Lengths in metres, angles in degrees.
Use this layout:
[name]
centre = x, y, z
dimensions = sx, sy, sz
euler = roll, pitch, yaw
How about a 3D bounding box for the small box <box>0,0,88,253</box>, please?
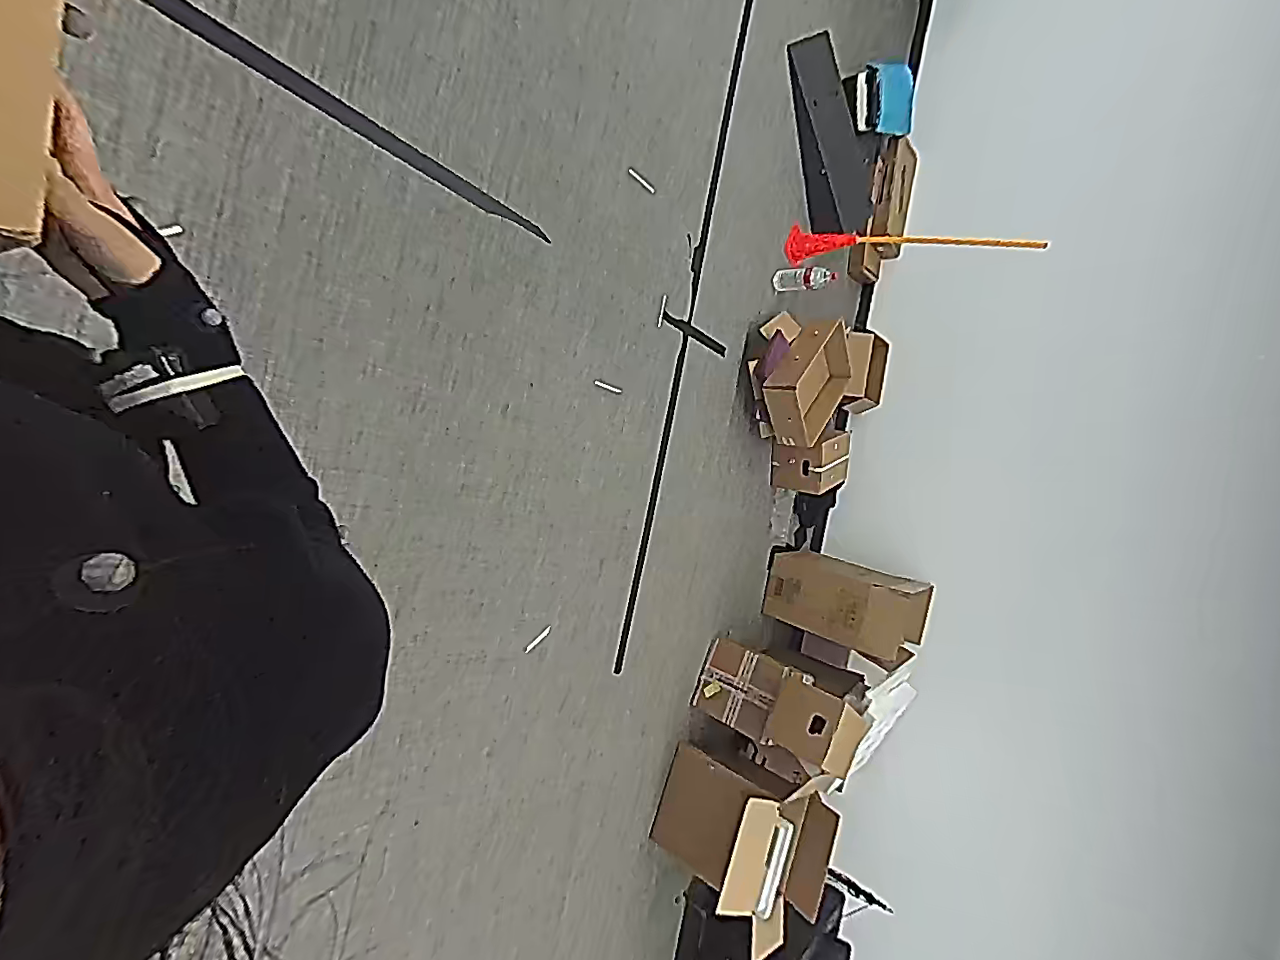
[small box]
centre = -0.392, -0.221, 0.243
dimensions = 0.168, 0.176, 0.179
euler = 5, 95, -58
